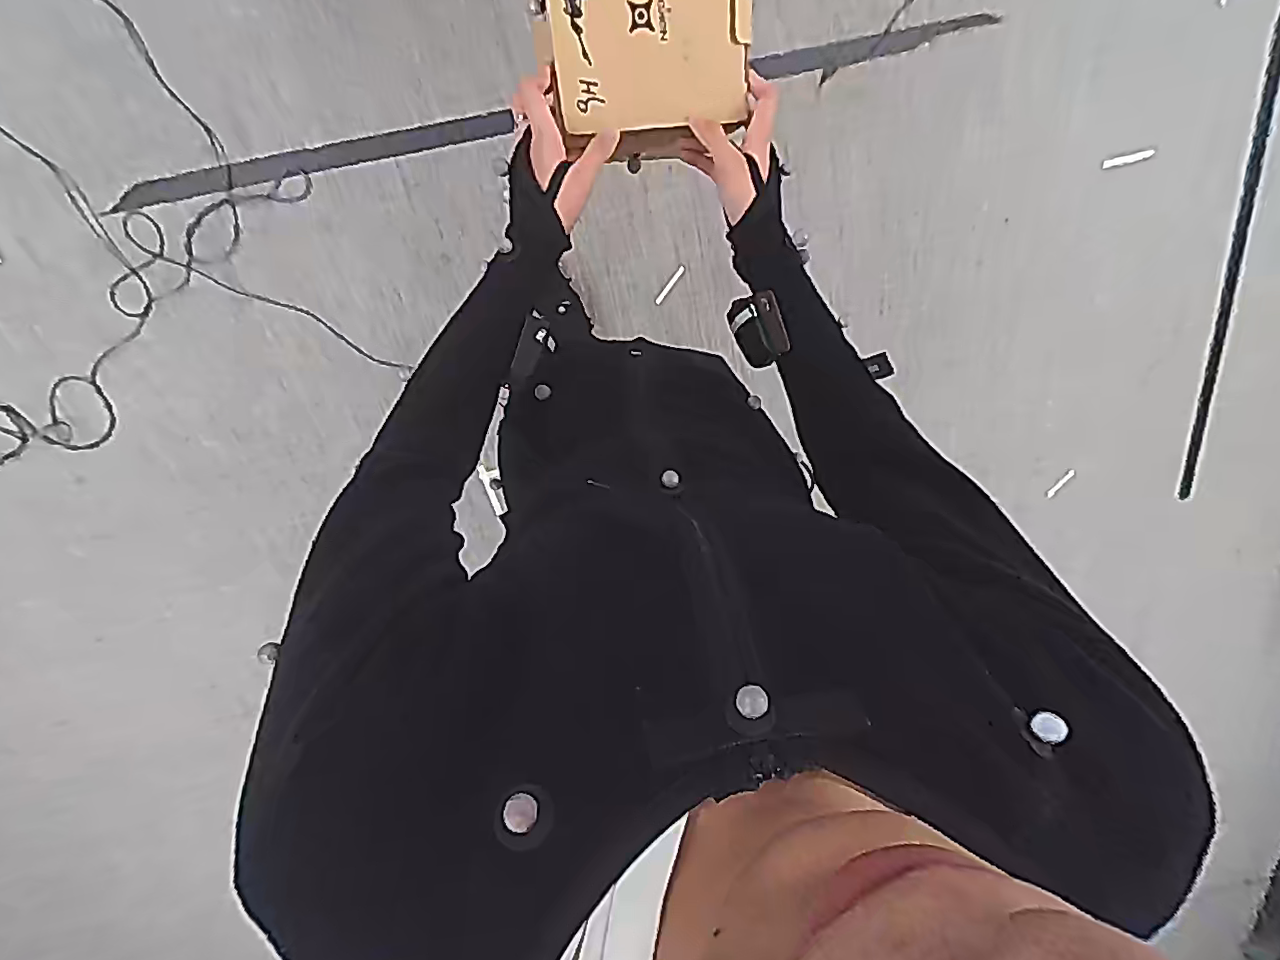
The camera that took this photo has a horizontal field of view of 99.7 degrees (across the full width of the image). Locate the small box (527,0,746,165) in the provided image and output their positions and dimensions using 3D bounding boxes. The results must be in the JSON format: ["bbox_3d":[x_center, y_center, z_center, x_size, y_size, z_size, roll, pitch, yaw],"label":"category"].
[{"bbox_3d":[-0.009,-0.420,0.531,0.179,0.176,0.168,-10,112,-9],"label":"small box"}]
